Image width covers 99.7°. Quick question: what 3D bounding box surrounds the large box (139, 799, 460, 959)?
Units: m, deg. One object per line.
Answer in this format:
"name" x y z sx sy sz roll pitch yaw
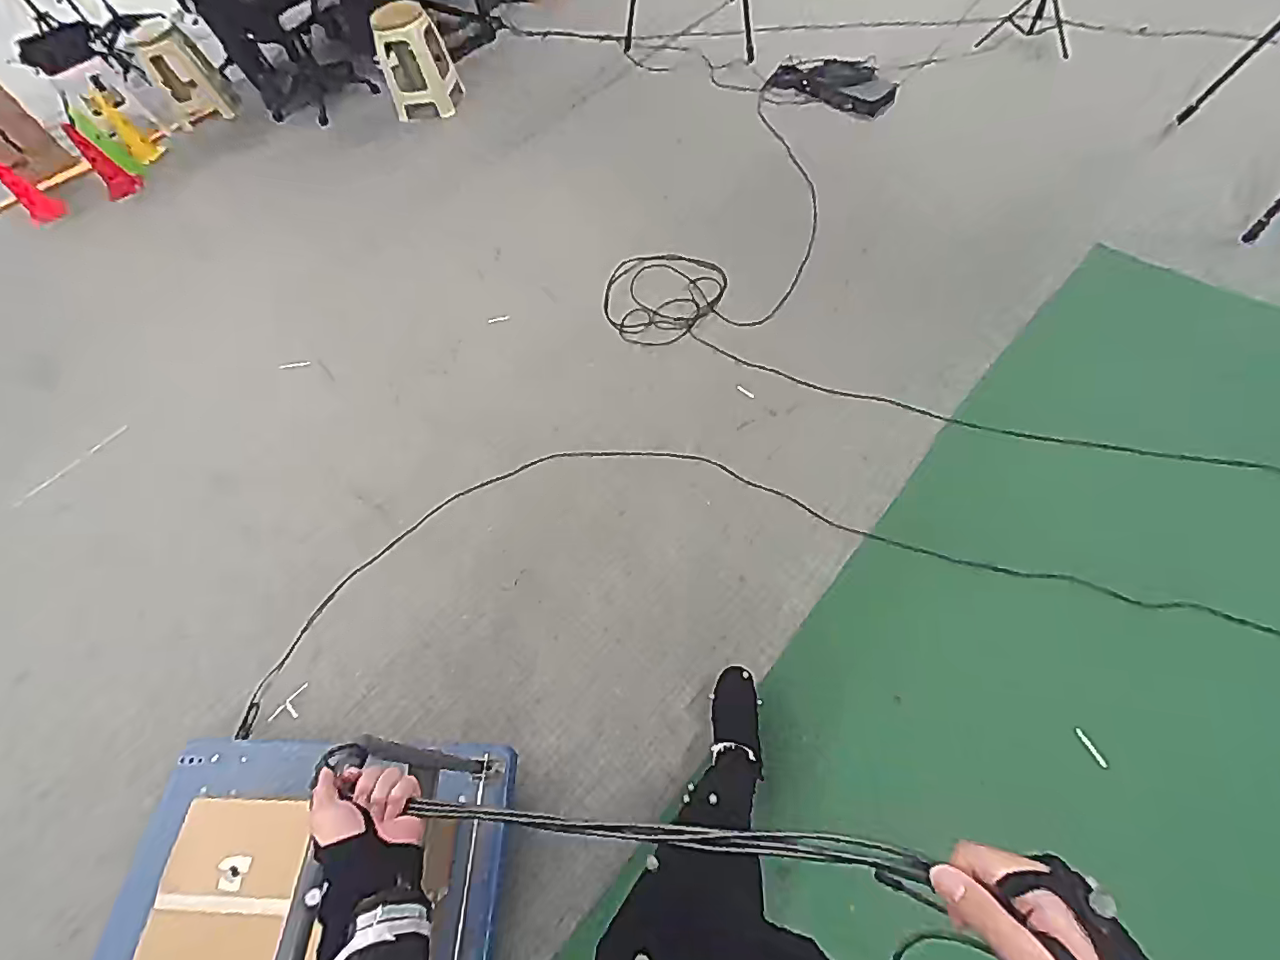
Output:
"large box" -0.616 0.800 1.044 0.408 0.320 0.320 -3 59 8
